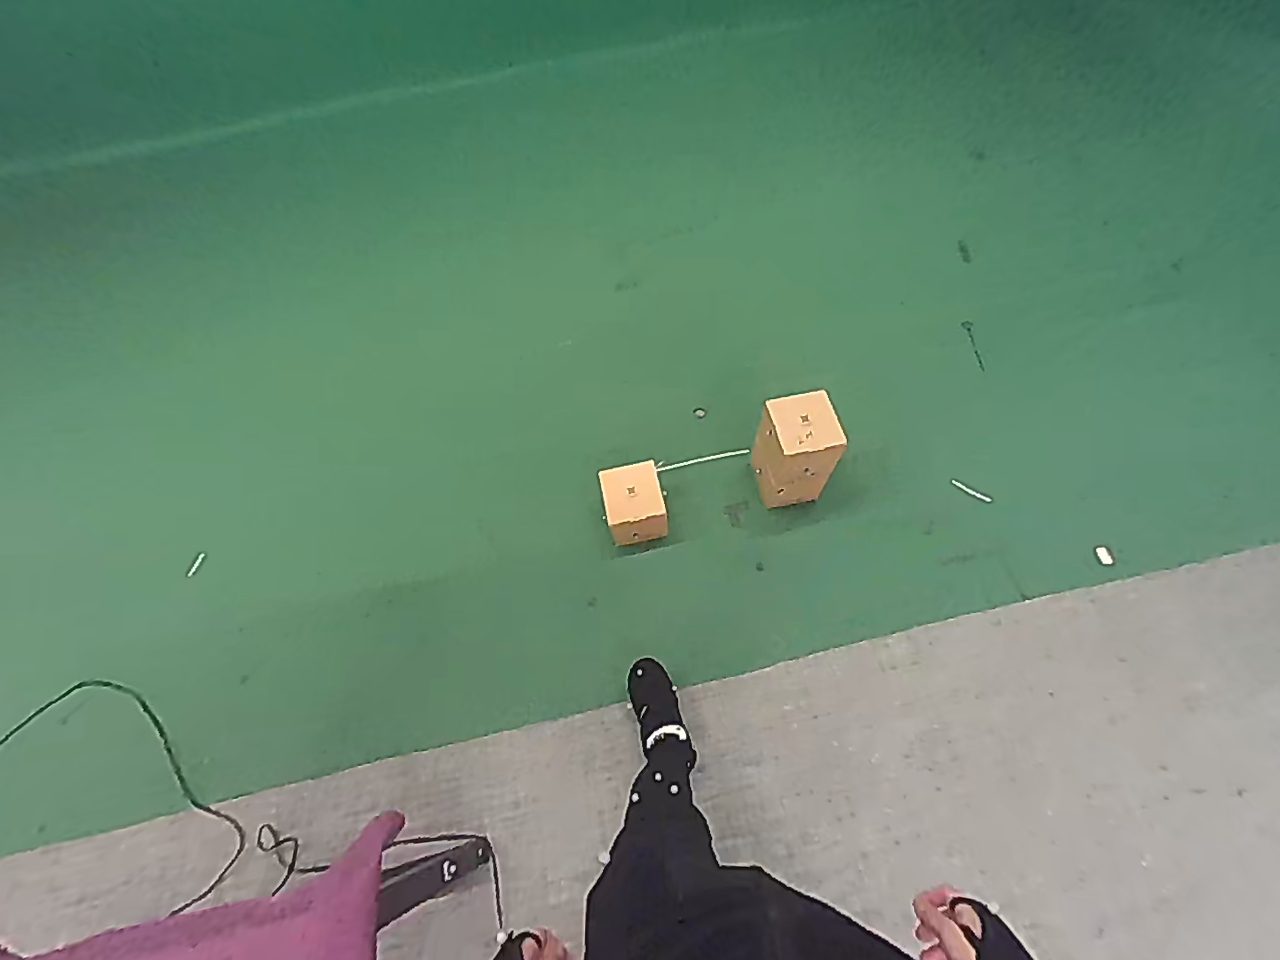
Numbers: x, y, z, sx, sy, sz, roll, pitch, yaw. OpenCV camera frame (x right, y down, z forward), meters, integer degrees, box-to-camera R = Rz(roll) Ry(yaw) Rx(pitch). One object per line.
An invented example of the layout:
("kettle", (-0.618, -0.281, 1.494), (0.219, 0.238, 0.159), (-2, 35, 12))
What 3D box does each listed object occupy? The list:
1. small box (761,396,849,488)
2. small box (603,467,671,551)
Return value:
("small box", (0.440, -0.101, 1.474), (0.168, 0.176, 0.179), (-11, 63, -2))
("small box", (-0.009, 0.088, 1.597), (0.168, 0.176, 0.179), (-13, 63, -2))
